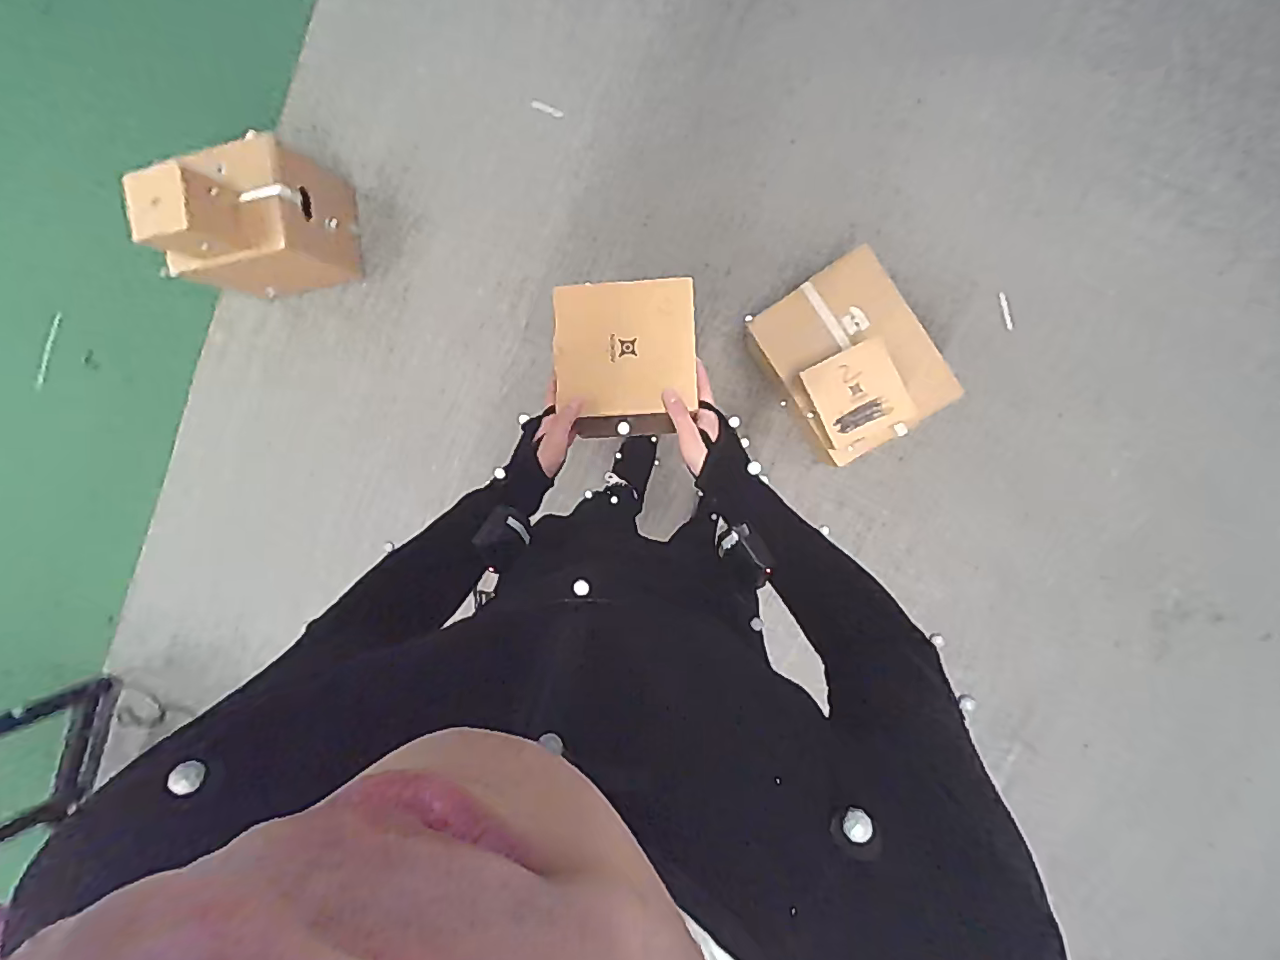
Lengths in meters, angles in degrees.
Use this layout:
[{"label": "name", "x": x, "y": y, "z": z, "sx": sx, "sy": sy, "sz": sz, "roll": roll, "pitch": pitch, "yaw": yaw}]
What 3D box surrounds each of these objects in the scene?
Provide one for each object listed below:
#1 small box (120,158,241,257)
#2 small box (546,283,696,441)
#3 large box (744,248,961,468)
[{"label": "small box", "x": -1.177, "y": -0.697, "z": 1.402, "sx": 0.179, "sy": 0.176, "sz": 0.168, "roll": -5, "pitch": 94, "yaw": 12}, {"label": "small box", "x": -0.019, "y": -0.148, "z": 0.732, "sx": 0.179, "sy": 0.176, "sz": 0.168, "roll": -4, "pitch": 86, "yaw": 5}, {"label": "large box", "x": 0.502, "y": -0.280, "z": 1.359, "sx": 0.320, "sy": 0.320, "sz": 0.408, "roll": -33, "pitch": 87, "yaw": 11}]
